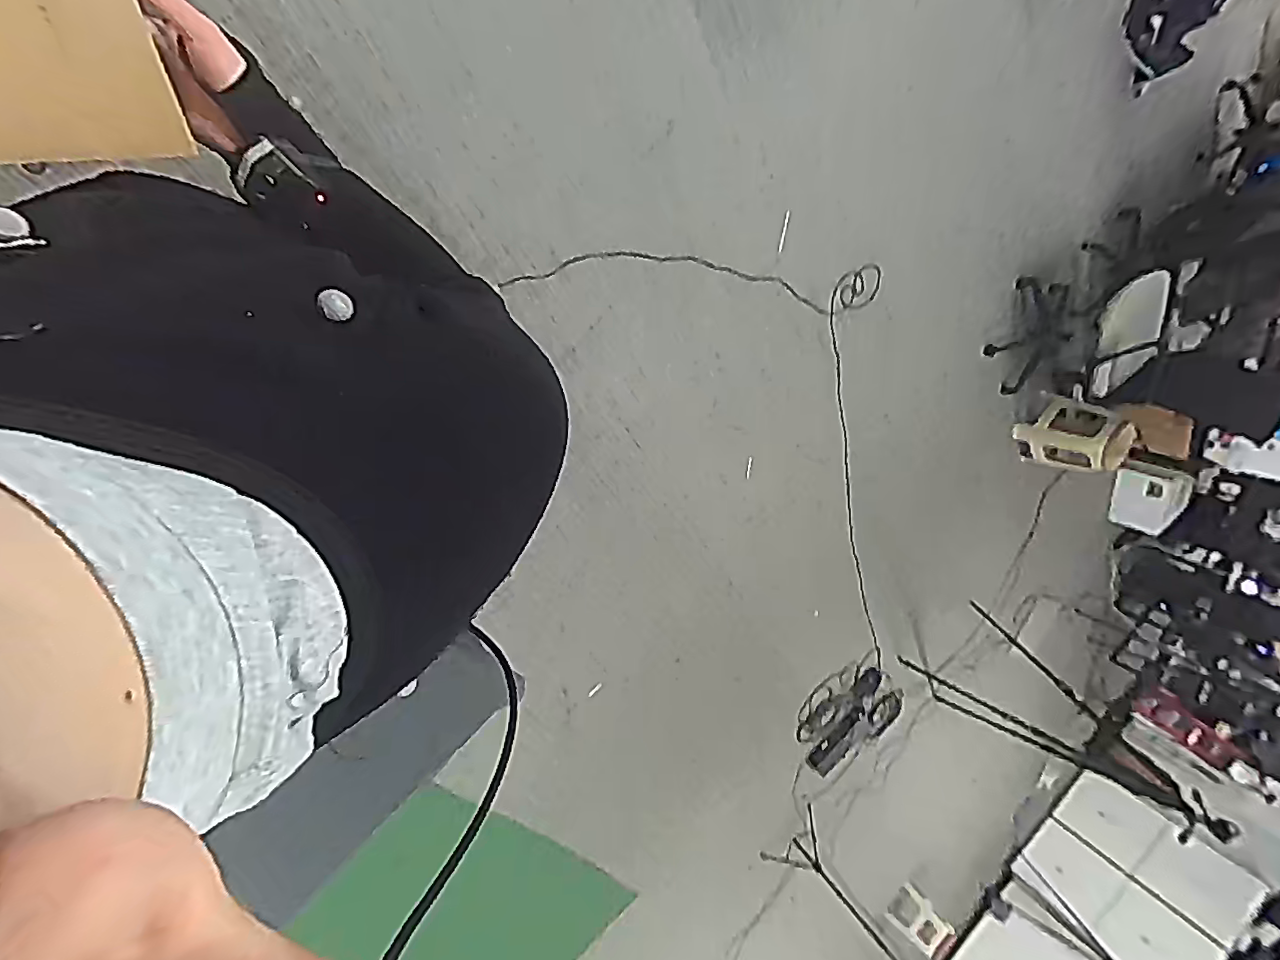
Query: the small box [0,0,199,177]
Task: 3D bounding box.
[{"bbox_3d":[-0.414,-0.296,0.325,0.179,0.176,0.168,-25,143,-29],"label":"small box"}]
